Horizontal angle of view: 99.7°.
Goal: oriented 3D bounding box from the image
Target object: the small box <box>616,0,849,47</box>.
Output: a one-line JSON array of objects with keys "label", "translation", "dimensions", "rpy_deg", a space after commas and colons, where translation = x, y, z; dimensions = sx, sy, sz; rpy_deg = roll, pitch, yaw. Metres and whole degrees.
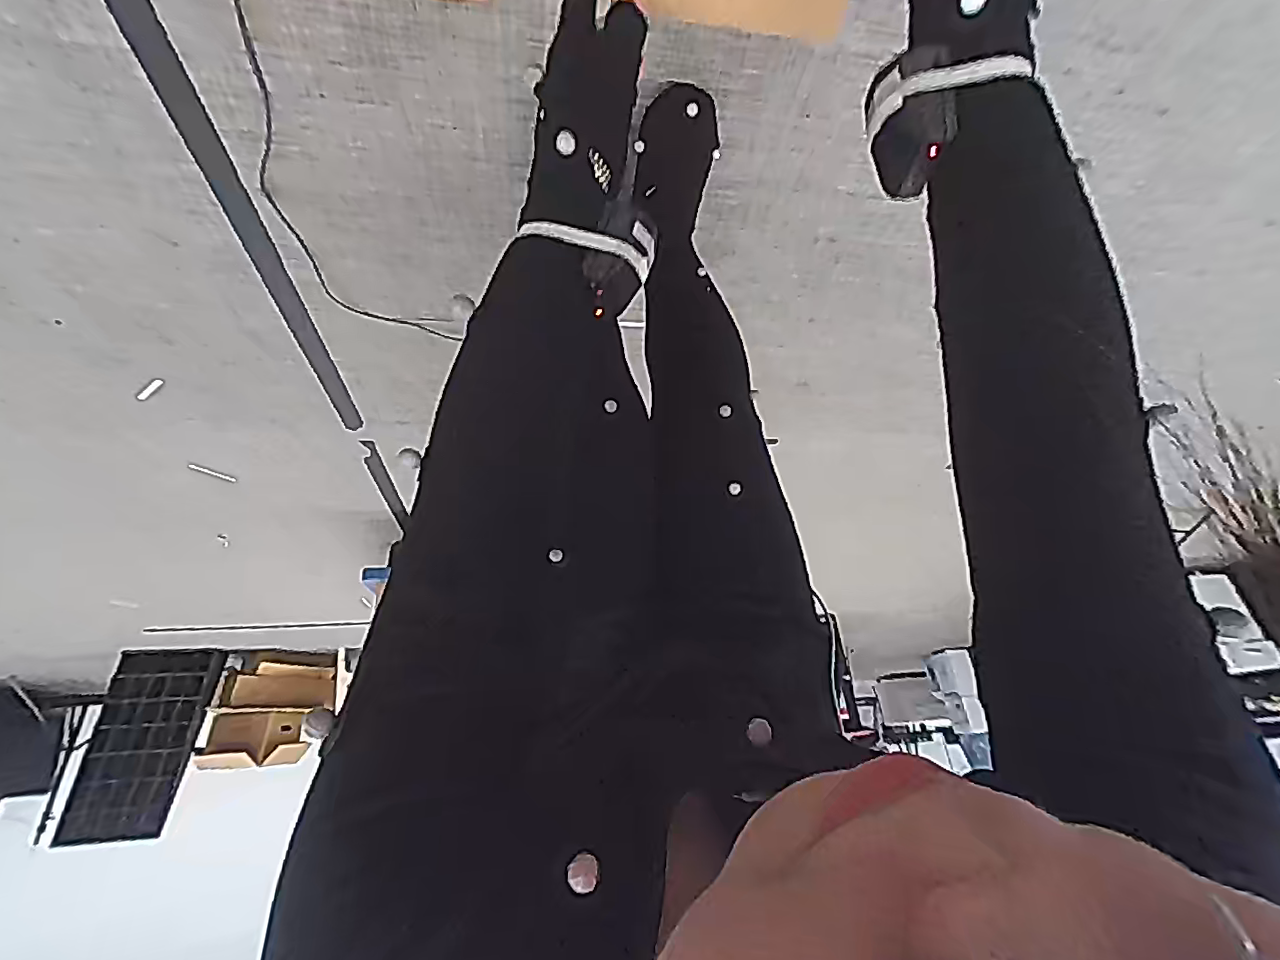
[{"label": "small box", "translation": [0.072, -0.452, 0.378], "dimensions": [0.179, 0.176, 0.168], "rpy_deg": [0, 152, -12]}]
